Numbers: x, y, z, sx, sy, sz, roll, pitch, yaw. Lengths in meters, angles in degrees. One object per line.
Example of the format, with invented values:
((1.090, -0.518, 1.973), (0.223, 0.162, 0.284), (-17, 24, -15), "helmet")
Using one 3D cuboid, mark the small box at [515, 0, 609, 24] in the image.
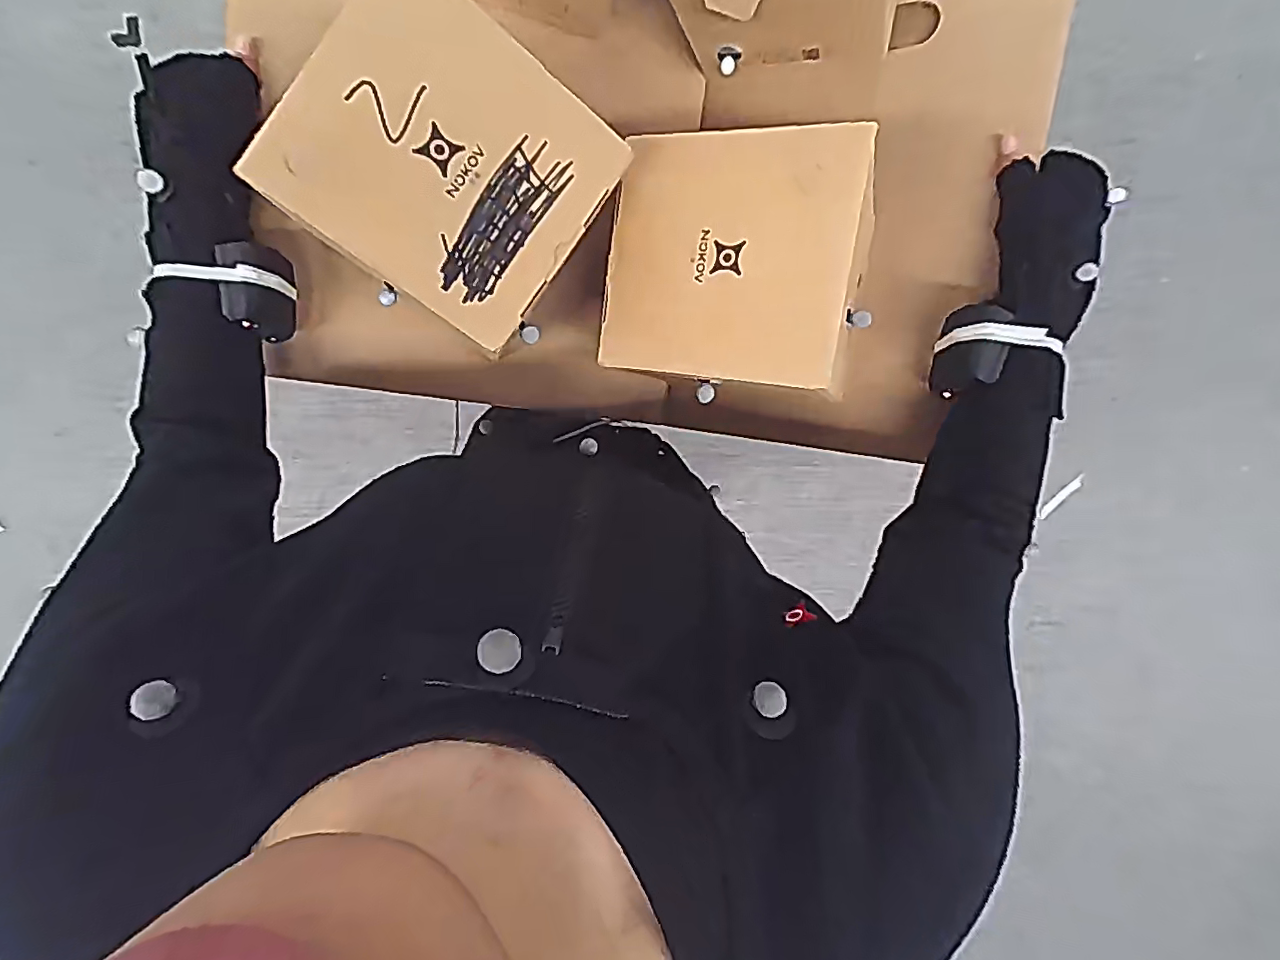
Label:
((-0.080, -0.475, 0.376), (0.179, 0.176, 0.168), (8, 99, -17), "small box")
